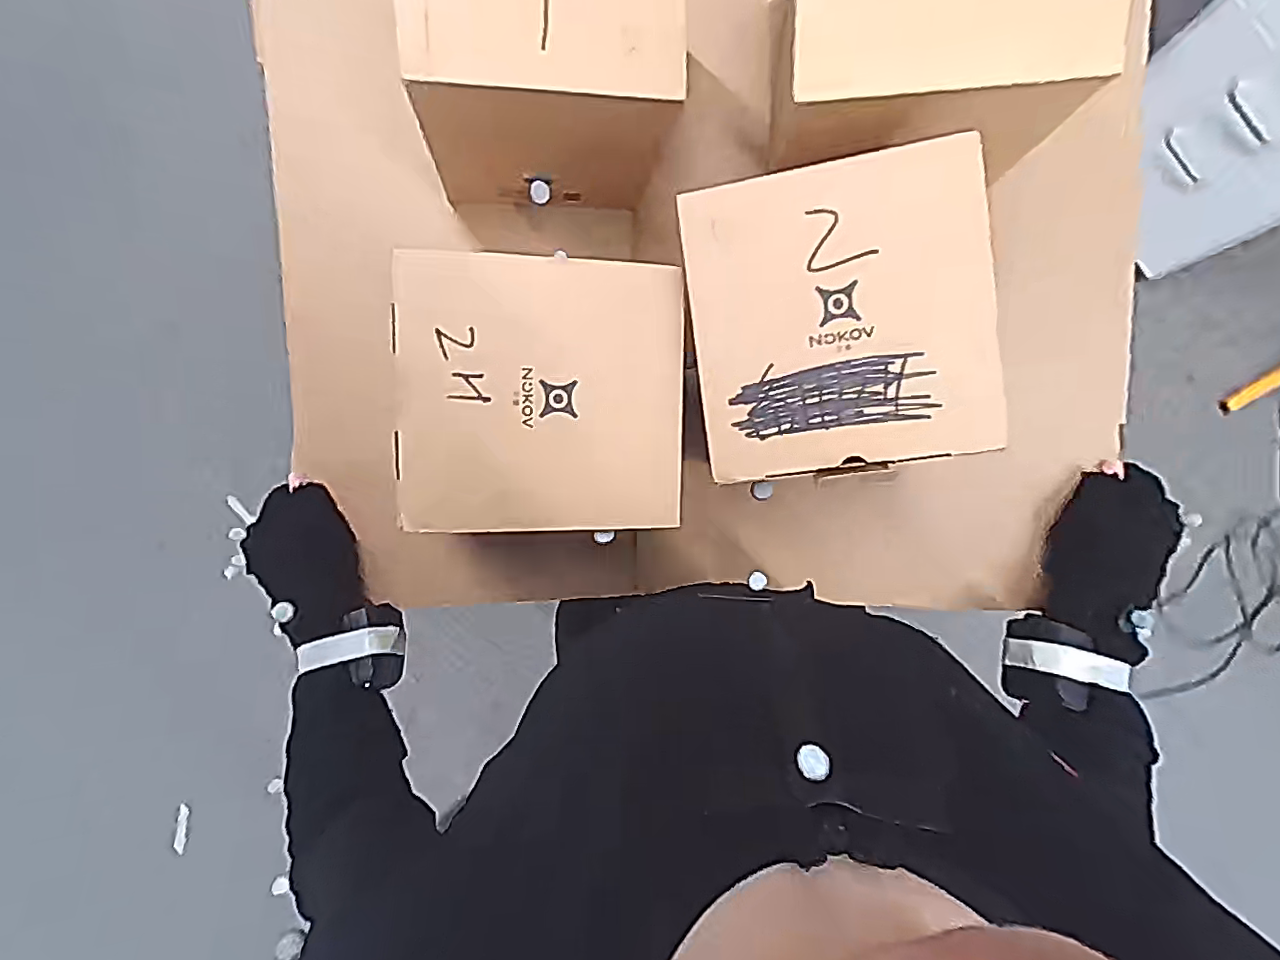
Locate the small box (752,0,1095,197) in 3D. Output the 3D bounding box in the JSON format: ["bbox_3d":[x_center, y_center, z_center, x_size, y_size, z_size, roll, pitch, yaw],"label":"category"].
[{"bbox_3d":[0.165,-0.311,0.364,0.168,0.176,0.179,0,95,9],"label":"small box"}]
